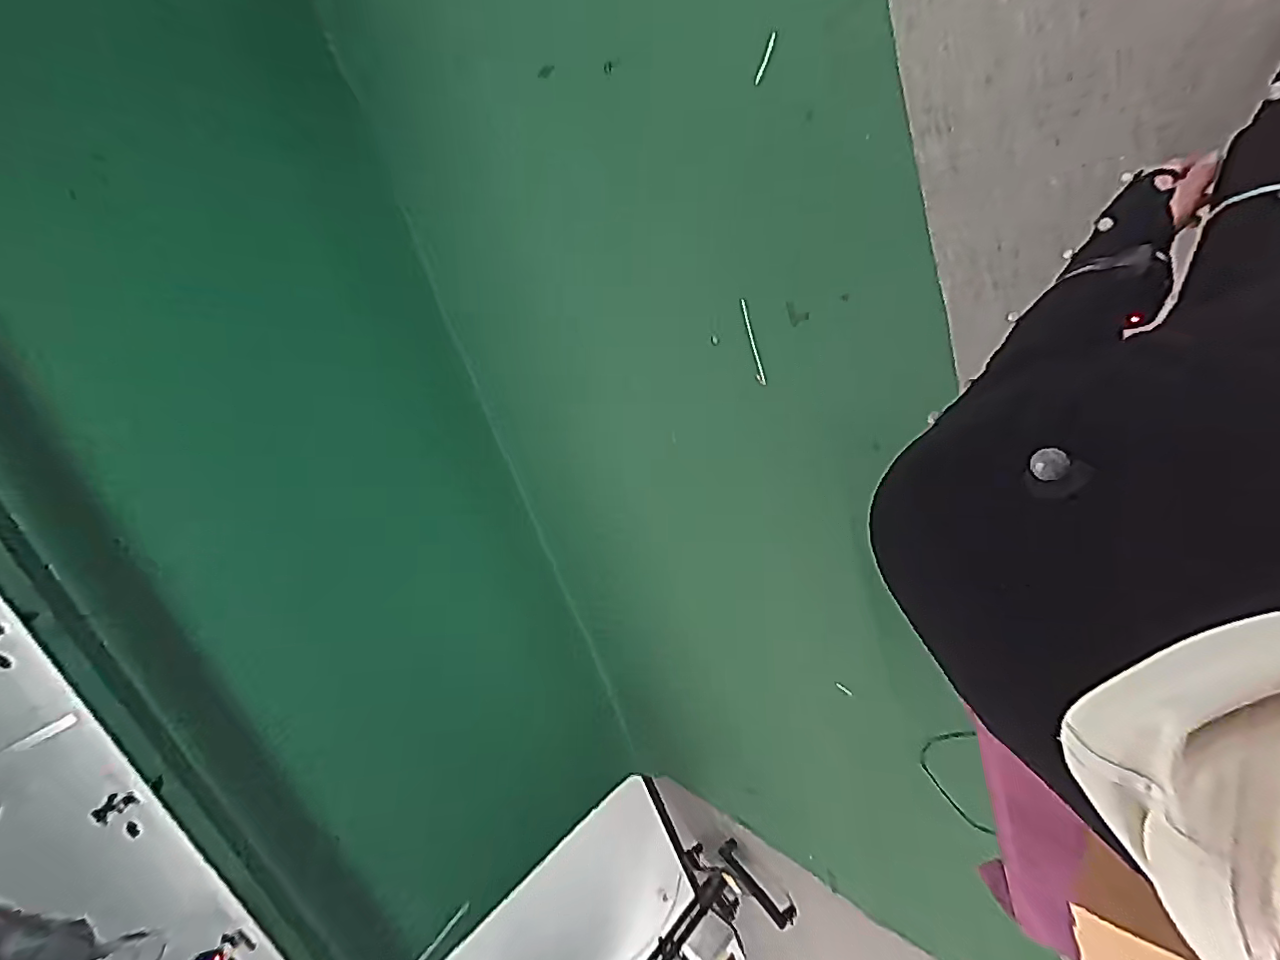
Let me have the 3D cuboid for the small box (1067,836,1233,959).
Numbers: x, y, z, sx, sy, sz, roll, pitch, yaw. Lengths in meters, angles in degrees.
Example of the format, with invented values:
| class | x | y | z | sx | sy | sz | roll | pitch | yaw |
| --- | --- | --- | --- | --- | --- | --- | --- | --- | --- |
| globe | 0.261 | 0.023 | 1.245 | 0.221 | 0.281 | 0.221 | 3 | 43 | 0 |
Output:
| class | x | y | z | sx | sy | sz | roll | pitch | yaw |
| --- | --- | --- | --- | --- | --- | --- | --- | --- | --- |
| small box | 0.857 | 0.750 | 0.909 | 0.179 | 0.176 | 0.168 | 0 | 115 | 52 |
